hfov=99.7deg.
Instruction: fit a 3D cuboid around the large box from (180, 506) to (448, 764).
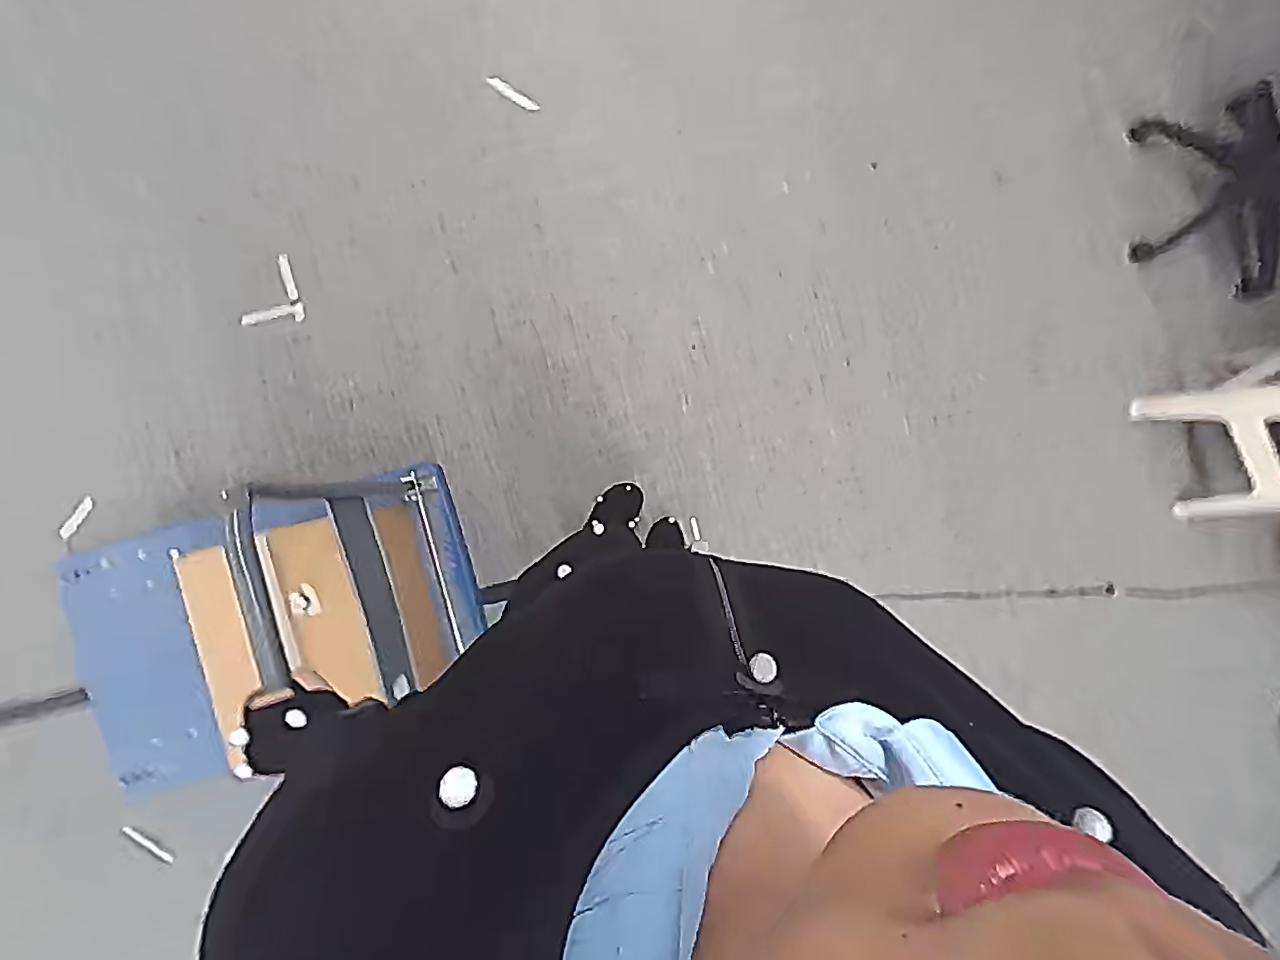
[{"bbox_3d":[-0.639,0.287,1.129,0.320,0.320,0.408,-14,90,-5],"label":"large box"}]
